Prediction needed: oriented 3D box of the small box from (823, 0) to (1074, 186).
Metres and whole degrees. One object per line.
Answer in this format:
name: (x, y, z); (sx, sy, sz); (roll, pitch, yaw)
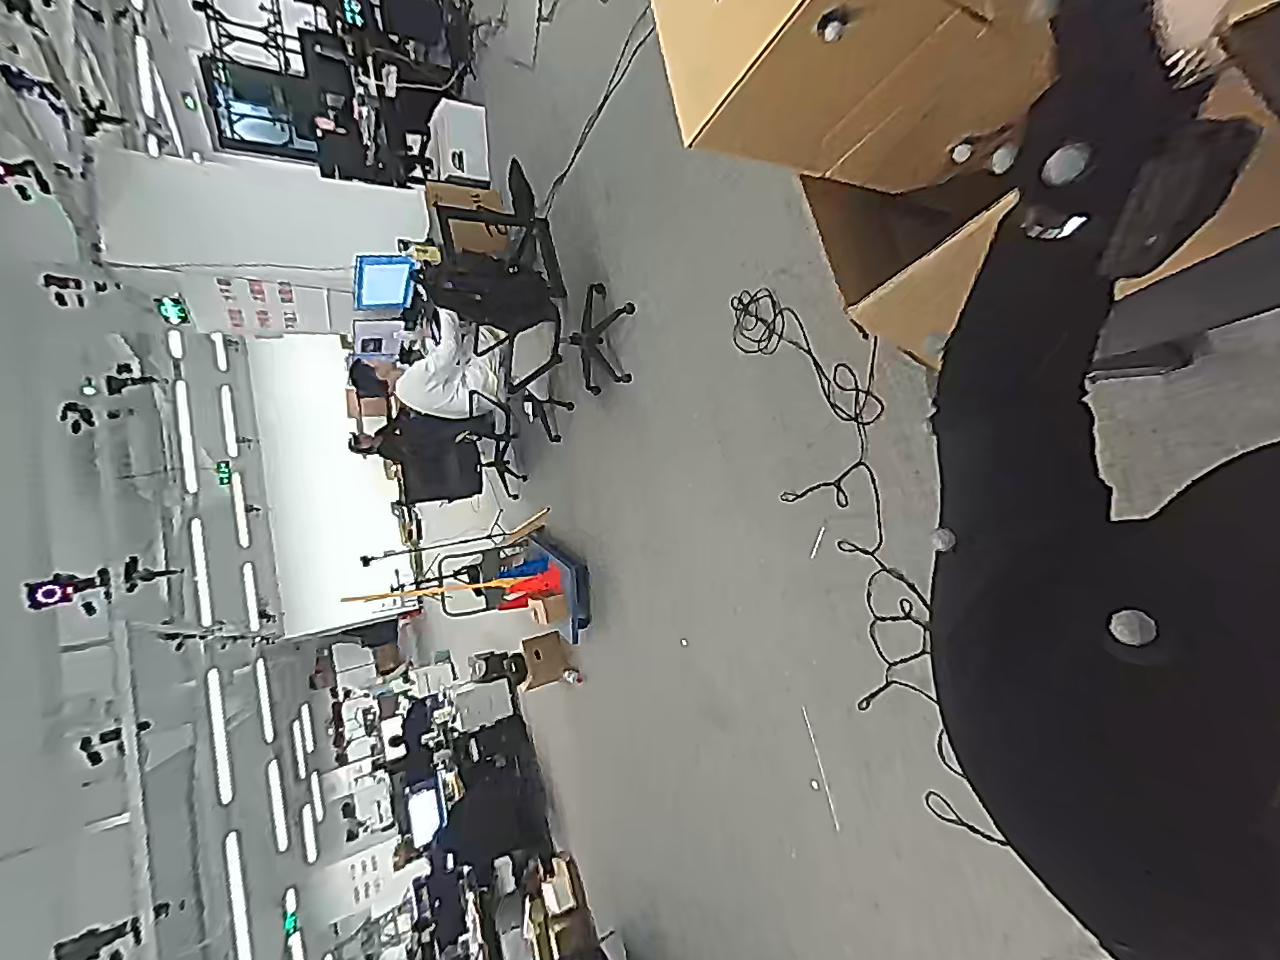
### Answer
small box: (0.278, -0.423, 0.530); (0.168, 0.176, 0.179); (-22, 80, 58)

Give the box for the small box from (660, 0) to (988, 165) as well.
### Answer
small box: (0.141, -0.397, 0.448); (0.179, 0.176, 0.168); (-21, 80, 58)
